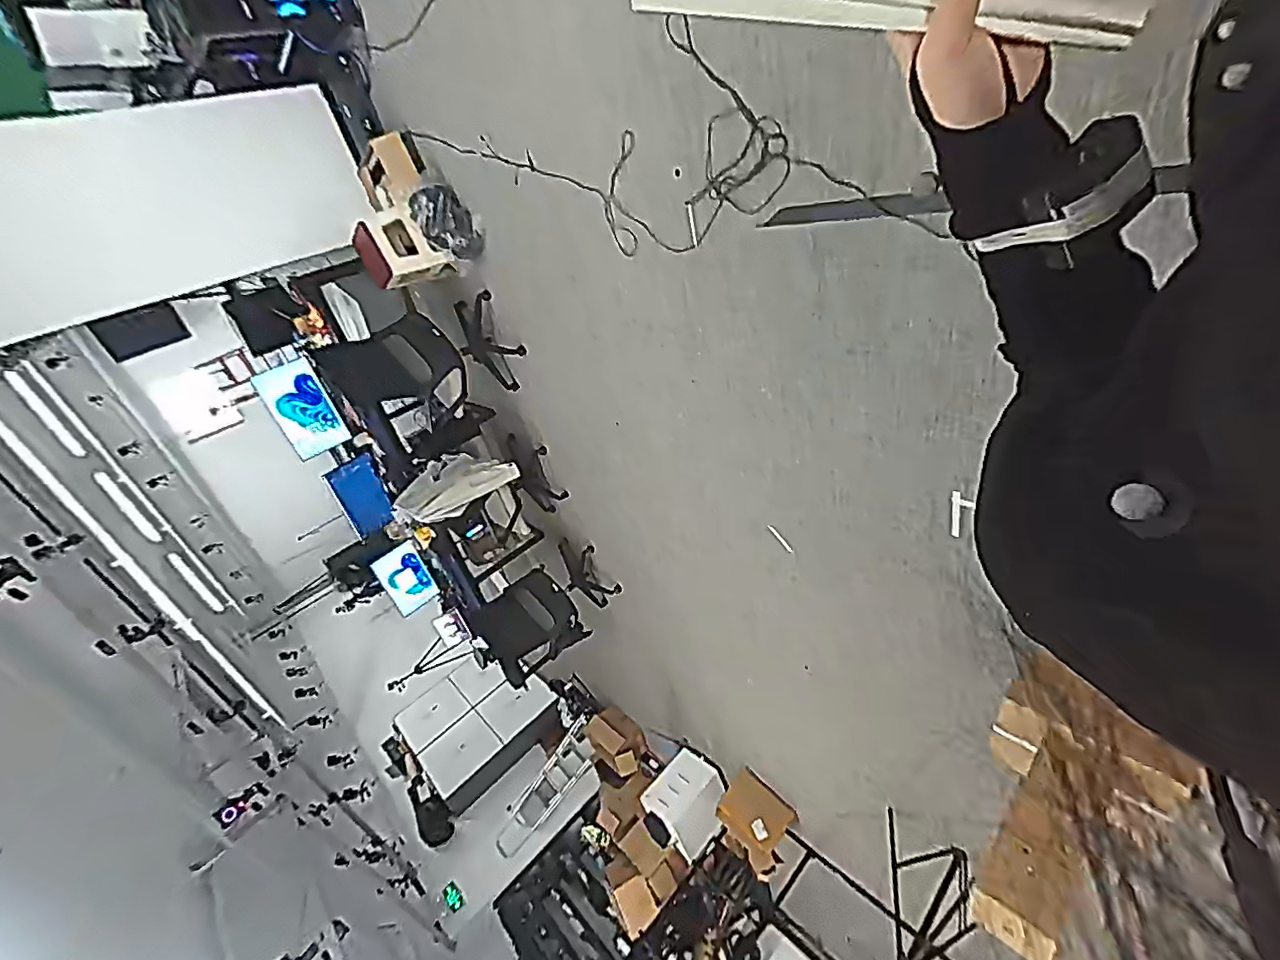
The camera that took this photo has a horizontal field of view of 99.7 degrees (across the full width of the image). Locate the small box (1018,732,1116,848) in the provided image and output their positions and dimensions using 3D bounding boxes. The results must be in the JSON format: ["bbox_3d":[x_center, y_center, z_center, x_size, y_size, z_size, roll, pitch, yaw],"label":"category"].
[{"bbox_3d":[1.141,0.819,1.446,0.168,0.176,0.179,18,136,47],"label":"small box"}]

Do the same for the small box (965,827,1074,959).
[{"bbox_3d":[0.903,0.987,1.291,0.168,0.176,0.179,19,136,45],"label":"small box"}]
